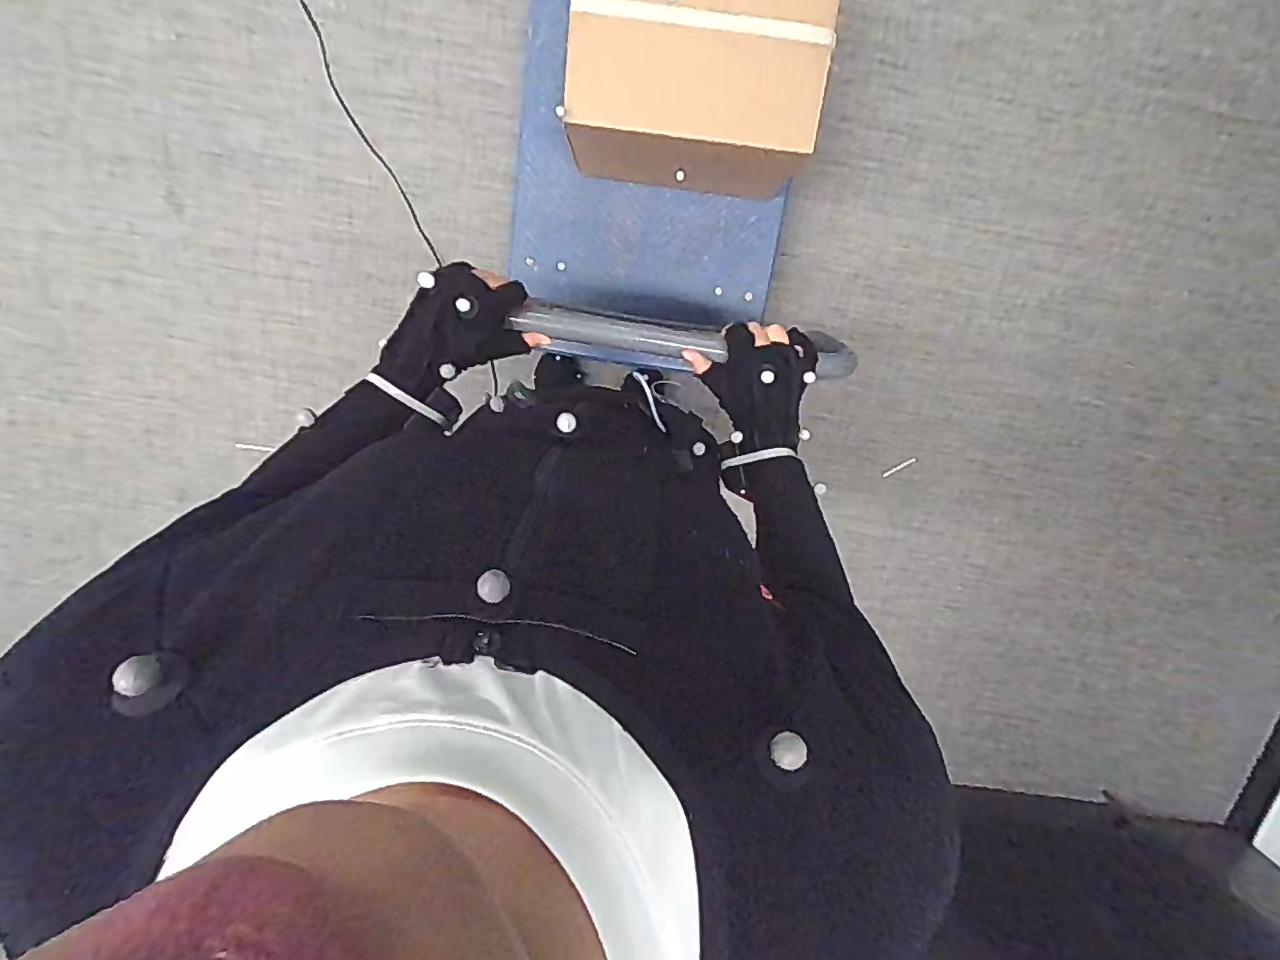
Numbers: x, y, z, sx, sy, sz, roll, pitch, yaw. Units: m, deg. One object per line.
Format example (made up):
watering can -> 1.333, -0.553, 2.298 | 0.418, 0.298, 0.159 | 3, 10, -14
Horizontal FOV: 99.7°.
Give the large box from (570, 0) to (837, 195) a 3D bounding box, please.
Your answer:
large box -> 0.099, -0.729, 0.973 | 0.408, 0.320, 0.320 | 5, 104, -2
